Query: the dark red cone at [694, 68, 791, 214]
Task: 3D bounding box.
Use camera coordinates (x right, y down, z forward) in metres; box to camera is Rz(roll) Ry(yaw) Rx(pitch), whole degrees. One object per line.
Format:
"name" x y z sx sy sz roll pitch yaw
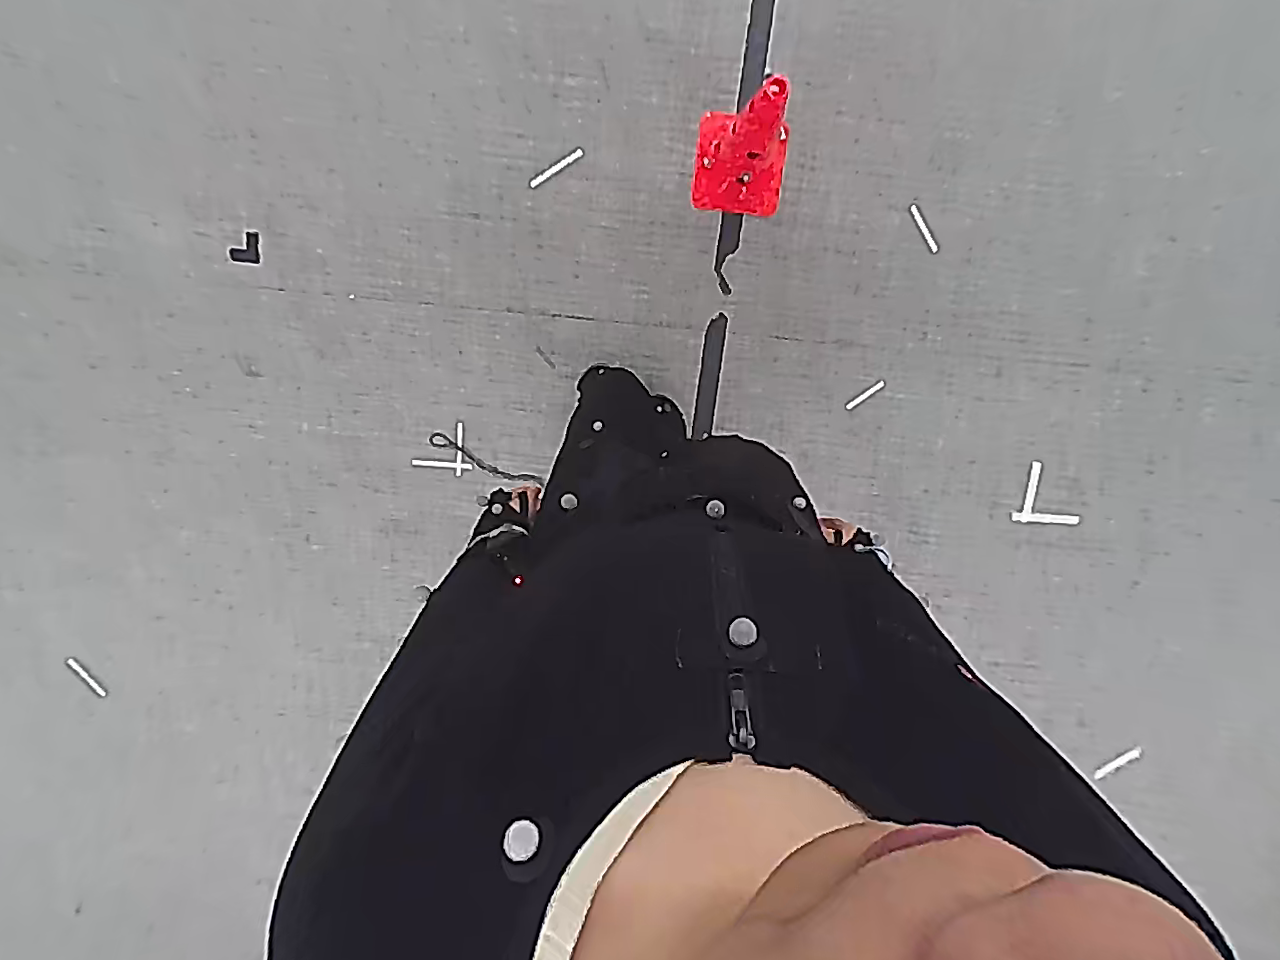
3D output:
"dark red cone" 0.221 -0.666 1.032 0.201 0.394 0.202 6 102 0
